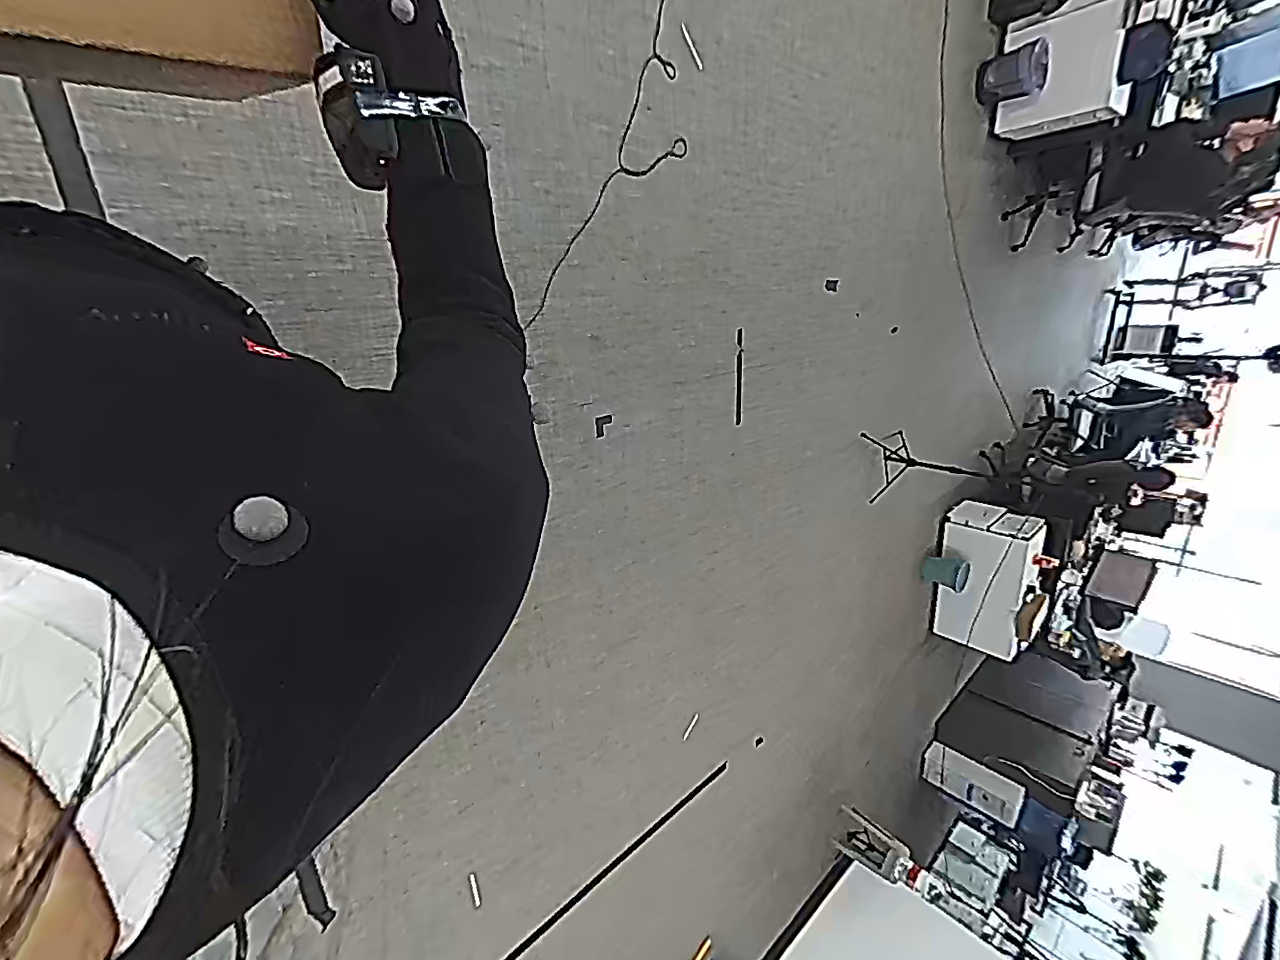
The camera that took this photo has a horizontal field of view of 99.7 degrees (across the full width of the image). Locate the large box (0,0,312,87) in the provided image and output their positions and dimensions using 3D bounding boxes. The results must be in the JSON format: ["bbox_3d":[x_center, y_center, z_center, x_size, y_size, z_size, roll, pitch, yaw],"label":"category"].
[{"bbox_3d":[-0.453,-0.409,0.259,0.408,0.320,0.320,-21,129,-37],"label":"large box"}]
